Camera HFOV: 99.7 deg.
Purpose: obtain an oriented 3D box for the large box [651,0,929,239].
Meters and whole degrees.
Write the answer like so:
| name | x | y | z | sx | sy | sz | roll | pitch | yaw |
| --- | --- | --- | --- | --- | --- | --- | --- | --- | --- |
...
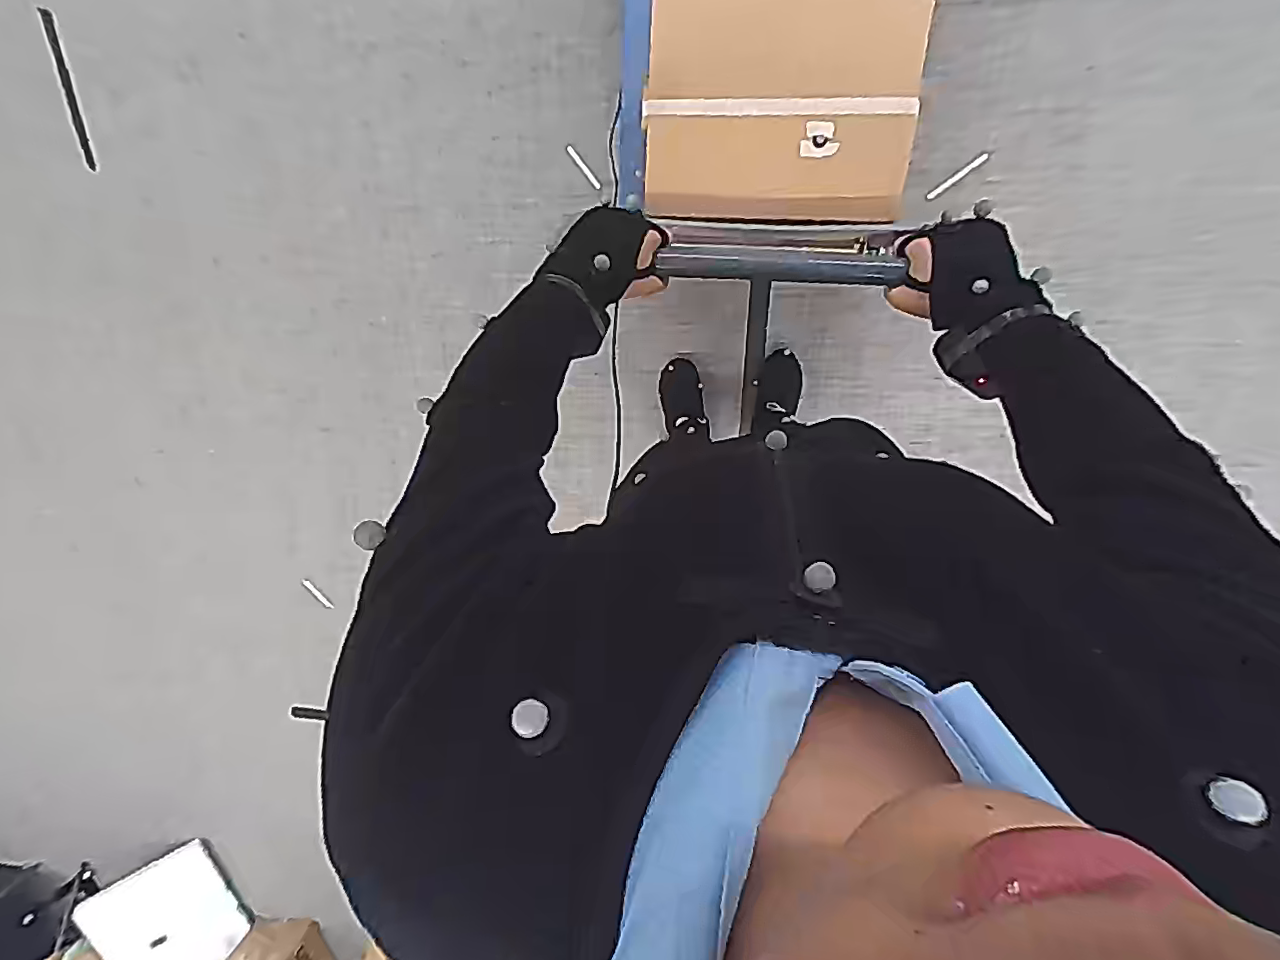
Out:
| name | x | y | z | sx | sy | sz | roll | pitch | yaw |
| --- | --- | --- | --- | --- | --- | --- | --- | --- | --- |
| large box | 0.233 | -0.623 | 0.980 | 0.408 | 0.320 | 0.320 | 4 | 109 | 6 |
